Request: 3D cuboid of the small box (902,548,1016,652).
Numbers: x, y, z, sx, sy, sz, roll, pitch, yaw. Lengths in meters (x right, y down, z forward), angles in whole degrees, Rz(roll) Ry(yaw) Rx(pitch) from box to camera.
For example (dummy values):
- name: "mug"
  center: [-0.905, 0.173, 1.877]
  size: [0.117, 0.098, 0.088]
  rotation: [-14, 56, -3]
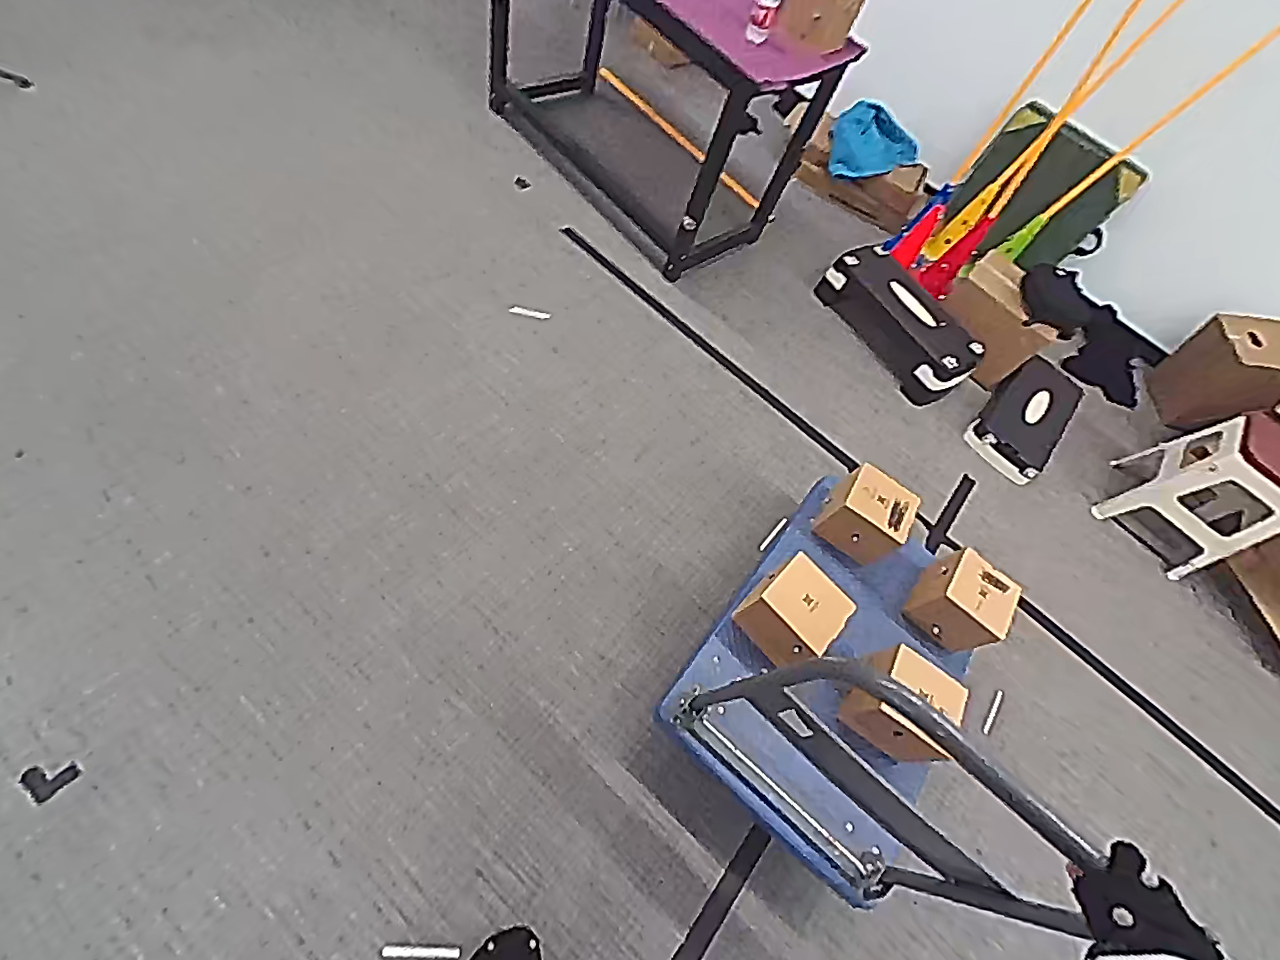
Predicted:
- name: "small box"
  center: [0.814, 0.312, 1.392]
  size: [0.168, 0.176, 0.179]
  rotation: [40, 59, 8]

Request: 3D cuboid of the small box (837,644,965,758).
- name: "small box"
  center: [0.578, 0.503, 1.213]
  size: [0.179, 0.176, 0.168]
  rotation: [36, 58, 5]

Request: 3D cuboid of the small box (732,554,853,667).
- name: "small box"
  center: [0.345, 0.307, 1.253]
  size: [0.179, 0.176, 0.168]
  rotation: [46, 59, 9]
